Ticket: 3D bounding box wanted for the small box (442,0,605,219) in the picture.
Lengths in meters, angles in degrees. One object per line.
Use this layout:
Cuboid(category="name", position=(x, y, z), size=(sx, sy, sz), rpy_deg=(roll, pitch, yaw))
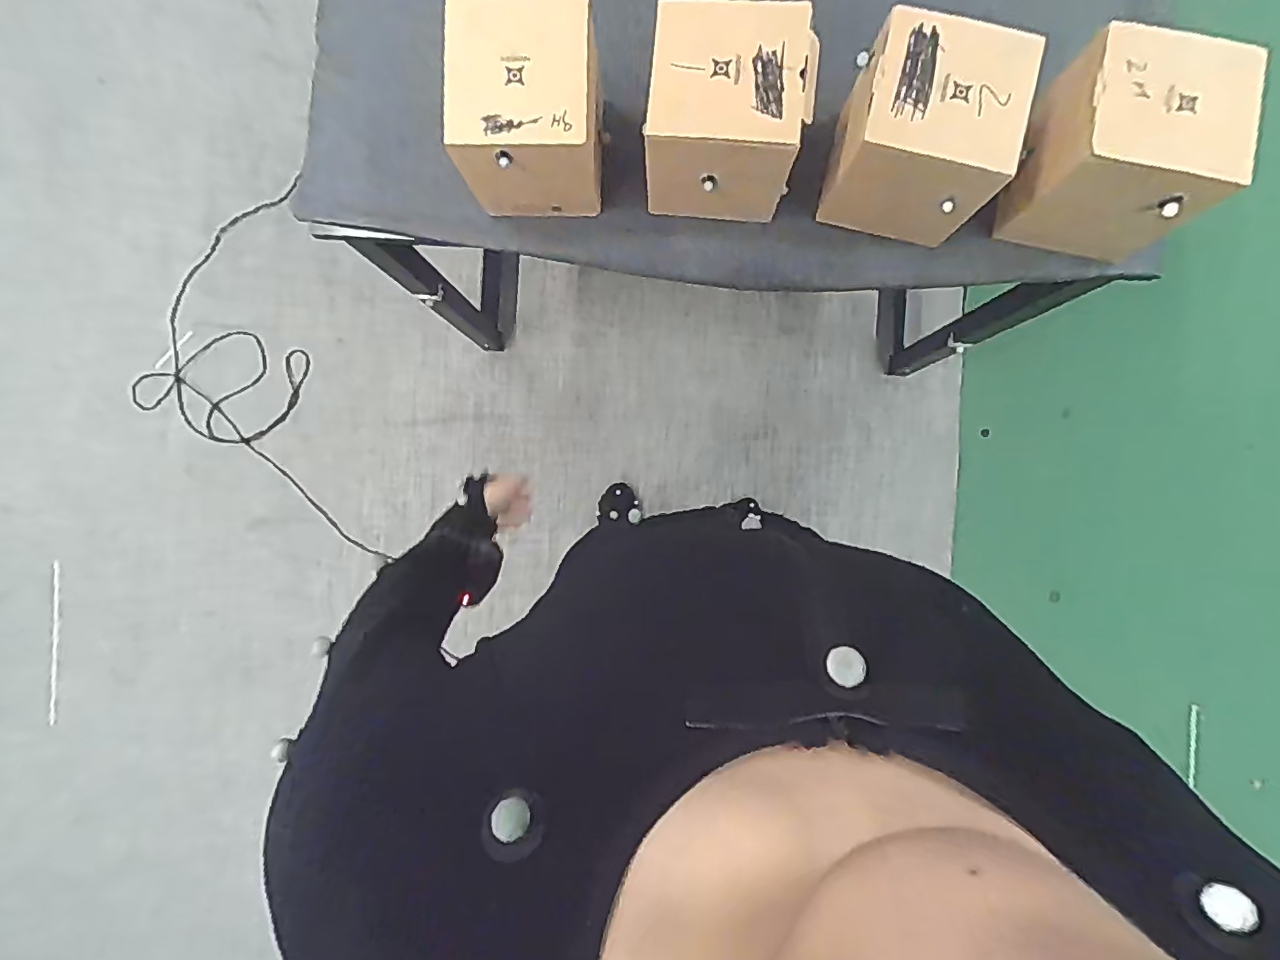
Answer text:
Cuboid(category="small box", position=(-0.137, -0.465, 0.694), size=(0.168, 0.176, 0.179), rpy_deg=(2, 89, 3))
